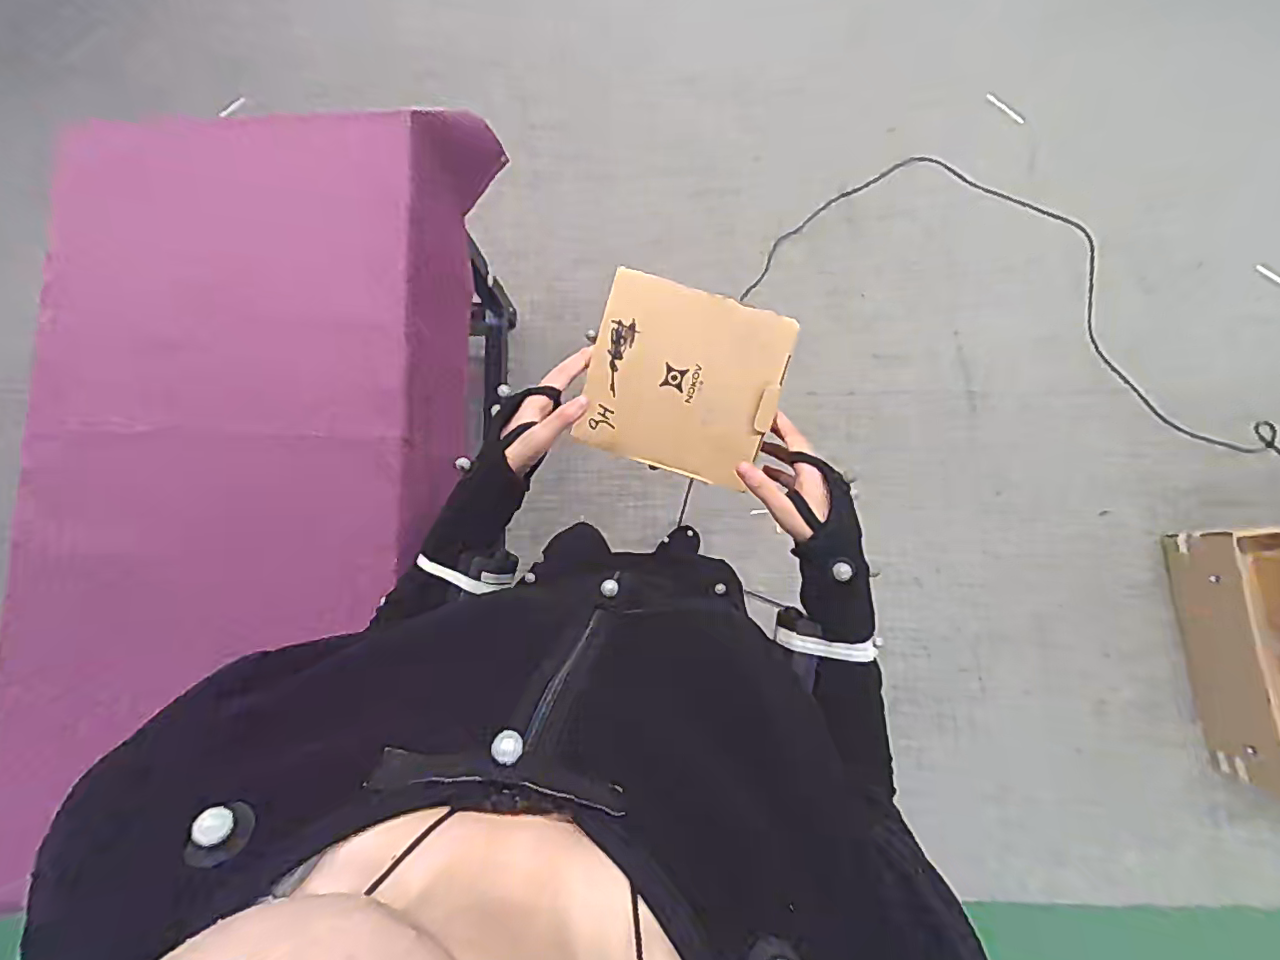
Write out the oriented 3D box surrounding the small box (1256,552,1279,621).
[{"bbox_3d":[1.668,0.261,1.308,0.168,0.176,0.179,-6,86,3],"label":"small box"}]
